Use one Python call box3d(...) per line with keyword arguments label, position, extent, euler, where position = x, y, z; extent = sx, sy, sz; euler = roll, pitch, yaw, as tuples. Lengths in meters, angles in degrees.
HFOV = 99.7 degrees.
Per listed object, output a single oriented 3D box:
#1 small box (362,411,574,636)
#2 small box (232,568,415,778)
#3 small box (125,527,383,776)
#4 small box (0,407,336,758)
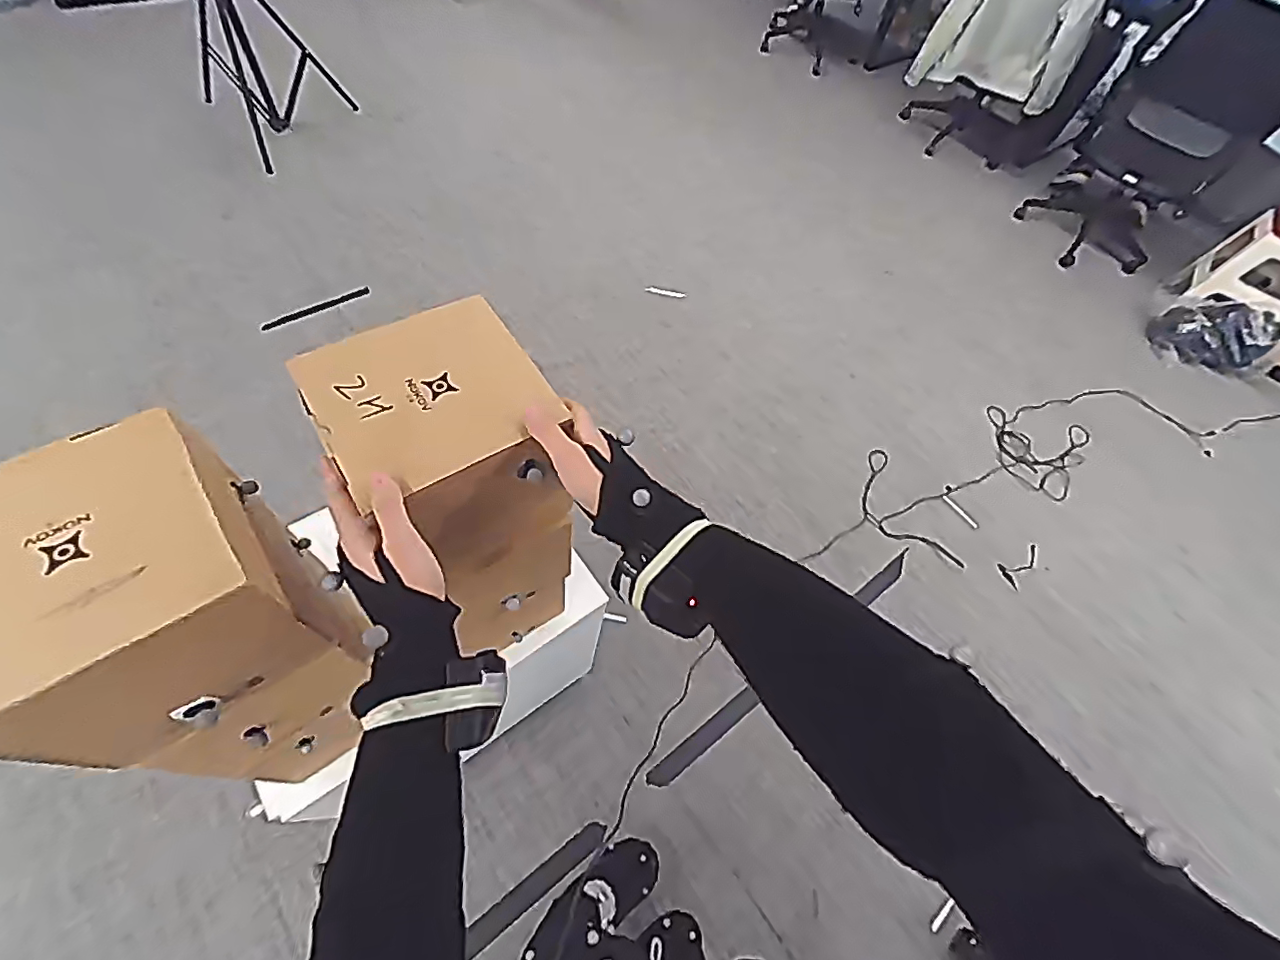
box3d(label="small box", position=(-0.193, 0.057, 0.642), extent=(0.168, 0.176, 0.179), euler=(-29, 68, -22))
box3d(label="small box", position=(-0.414, 0.250, 0.688), extent=(0.168, 0.176, 0.179), euler=(-31, 67, -23))
box3d(label="small box", position=(-0.392, 0.169, 0.548), extent=(0.168, 0.176, 0.179), euler=(-32, 68, -24))
box3d(label="small box", position=(-0.371, 0.084, 0.411), extent=(0.168, 0.176, 0.179), euler=(-33, 69, -23))
